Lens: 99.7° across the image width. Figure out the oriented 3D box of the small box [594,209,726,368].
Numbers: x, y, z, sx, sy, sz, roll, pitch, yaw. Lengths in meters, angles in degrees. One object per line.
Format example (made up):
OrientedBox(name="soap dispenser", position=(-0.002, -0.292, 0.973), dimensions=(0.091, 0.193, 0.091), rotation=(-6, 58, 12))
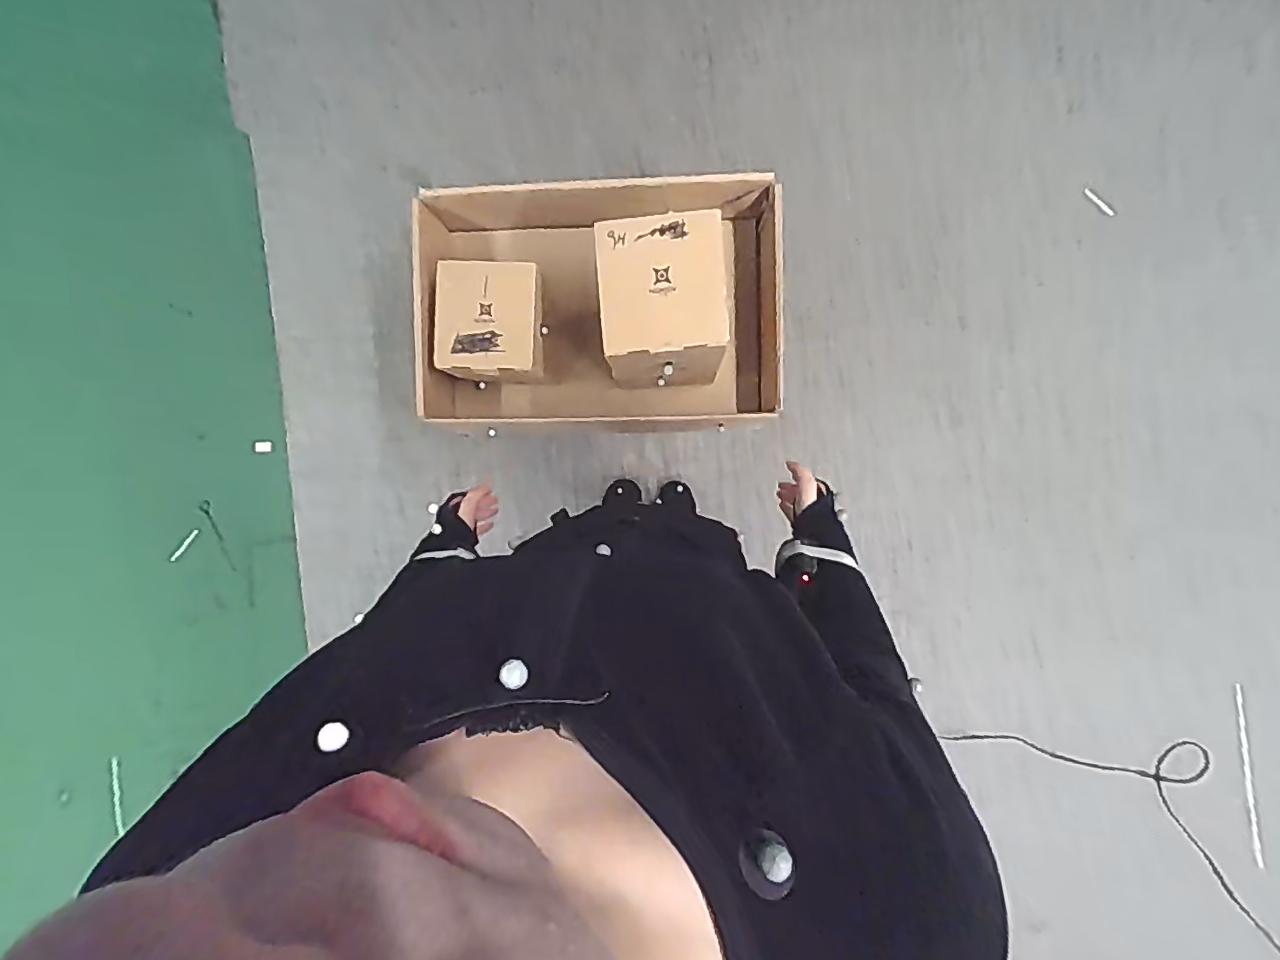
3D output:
OrientedBox(name="small box", position=(0.032, -0.259, 0.777), dimensions=(0.168, 0.176, 0.179), rotation=(-4, 93, 3))
